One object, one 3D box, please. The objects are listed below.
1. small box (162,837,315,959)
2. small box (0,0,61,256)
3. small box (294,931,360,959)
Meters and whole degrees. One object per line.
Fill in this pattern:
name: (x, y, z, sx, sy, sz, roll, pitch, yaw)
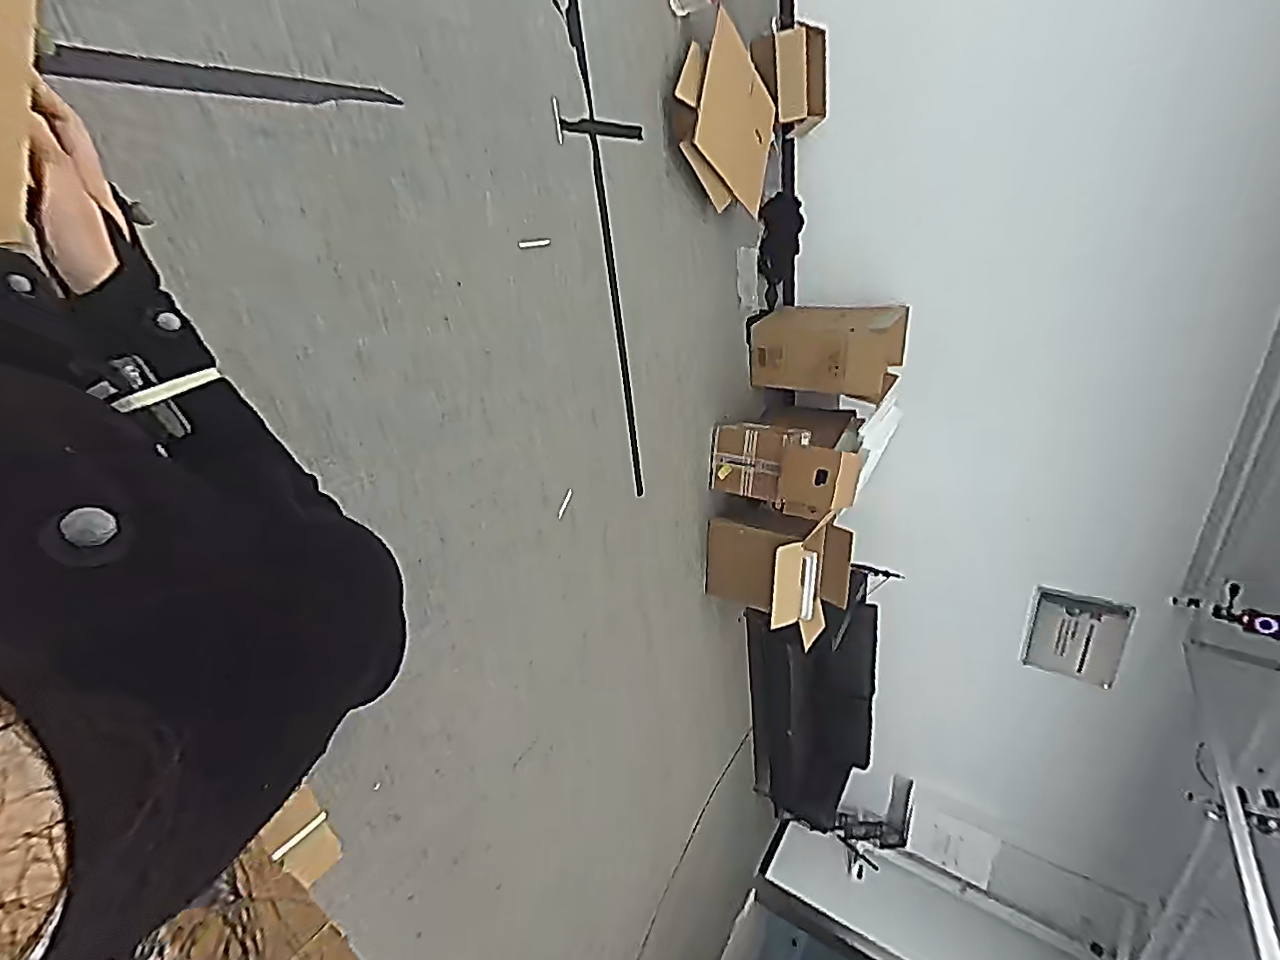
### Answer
small box: (-0.813, 0.884, 1.101, 0.179, 0.176, 0.168, -36, 126, -44)
small box: (-0.451, -0.233, 0.278, 0.168, 0.176, 0.179, 0, 101, -63)
small box: (-0.541, 0.937, 0.927, 0.168, 0.176, 0.179, -36, 126, -45)
